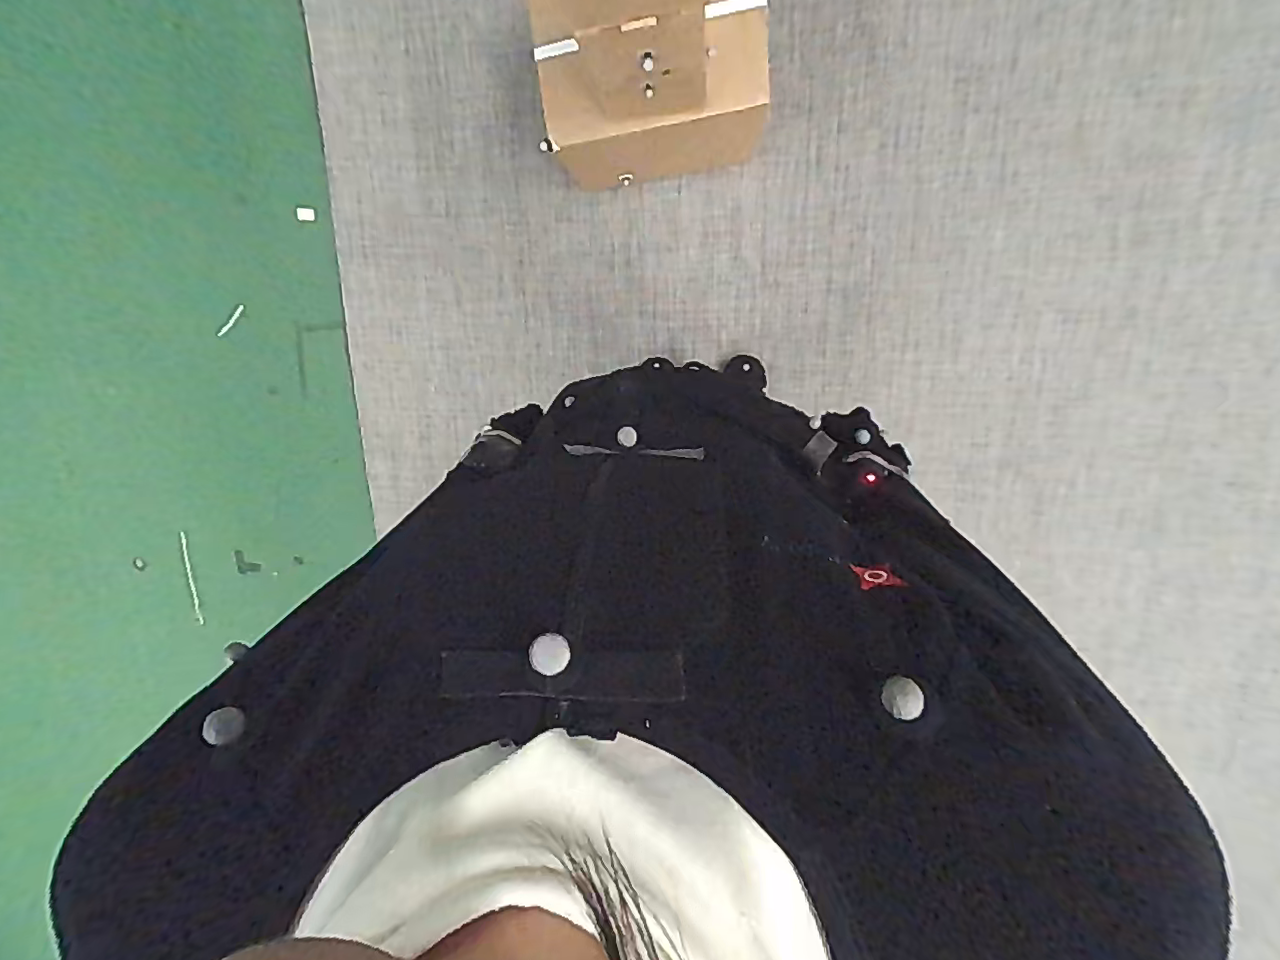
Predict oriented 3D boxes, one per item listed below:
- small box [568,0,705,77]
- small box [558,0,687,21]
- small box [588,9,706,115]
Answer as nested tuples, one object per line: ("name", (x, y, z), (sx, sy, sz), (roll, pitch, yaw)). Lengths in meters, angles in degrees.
("small box", (-0.004, -0.663, 0.708), (0.168, 0.176, 0.179), (-4, 106, 9))
("small box", (-0.021, -0.616, 0.551), (0.179, 0.176, 0.168), (-2, 105, 10))
("small box", (0.014, -0.712, 0.863), (0.179, 0.176, 0.168), (-3, 106, 7))
